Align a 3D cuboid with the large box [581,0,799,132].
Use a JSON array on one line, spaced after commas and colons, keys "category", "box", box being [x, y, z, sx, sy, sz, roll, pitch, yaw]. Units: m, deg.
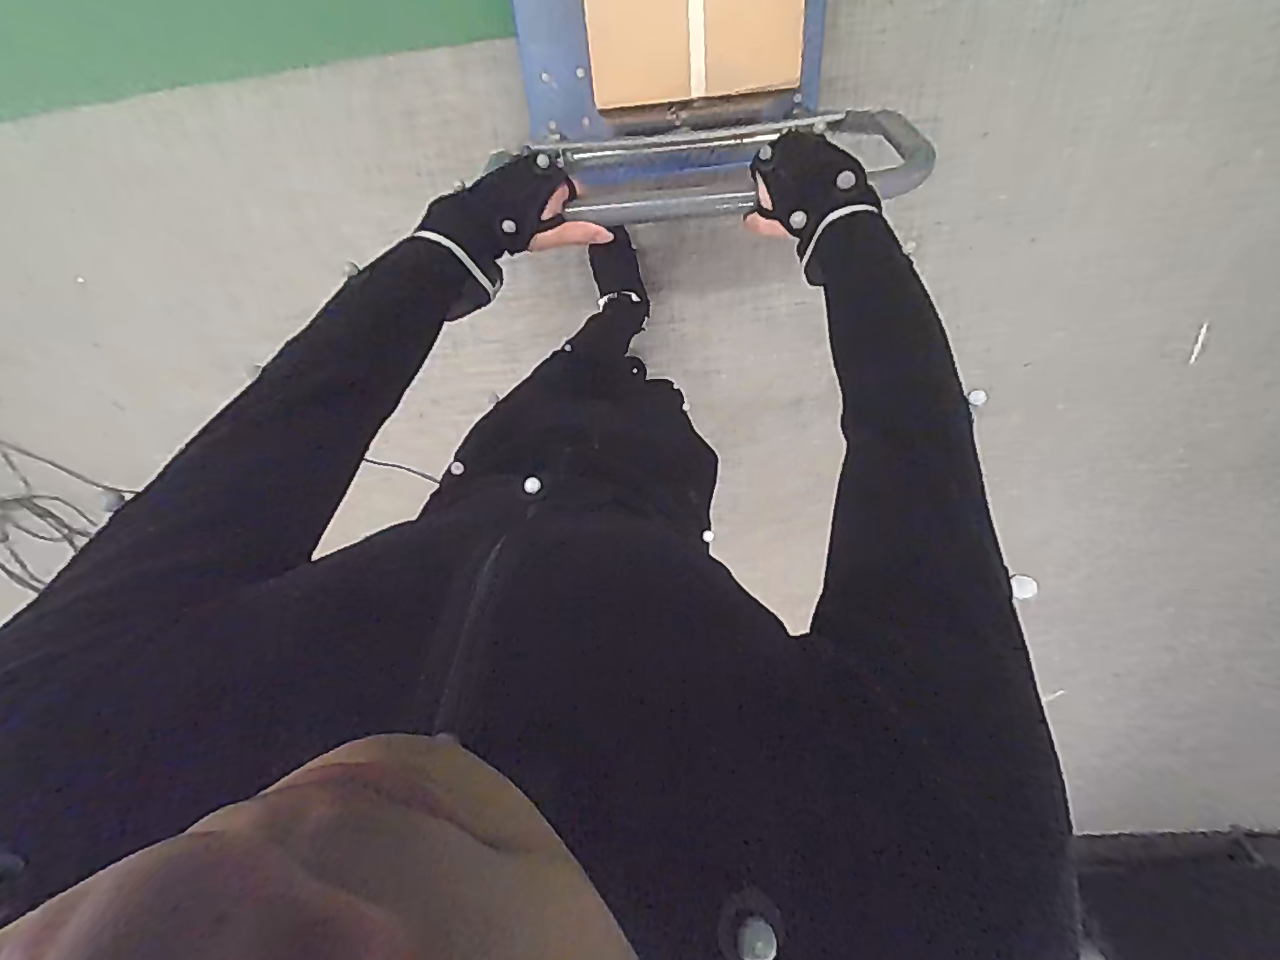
[{"category": "large box", "box": [0.068, -0.823, 0.867, 0.320, 0.320, 0.408, -4, 119, 3]}]
